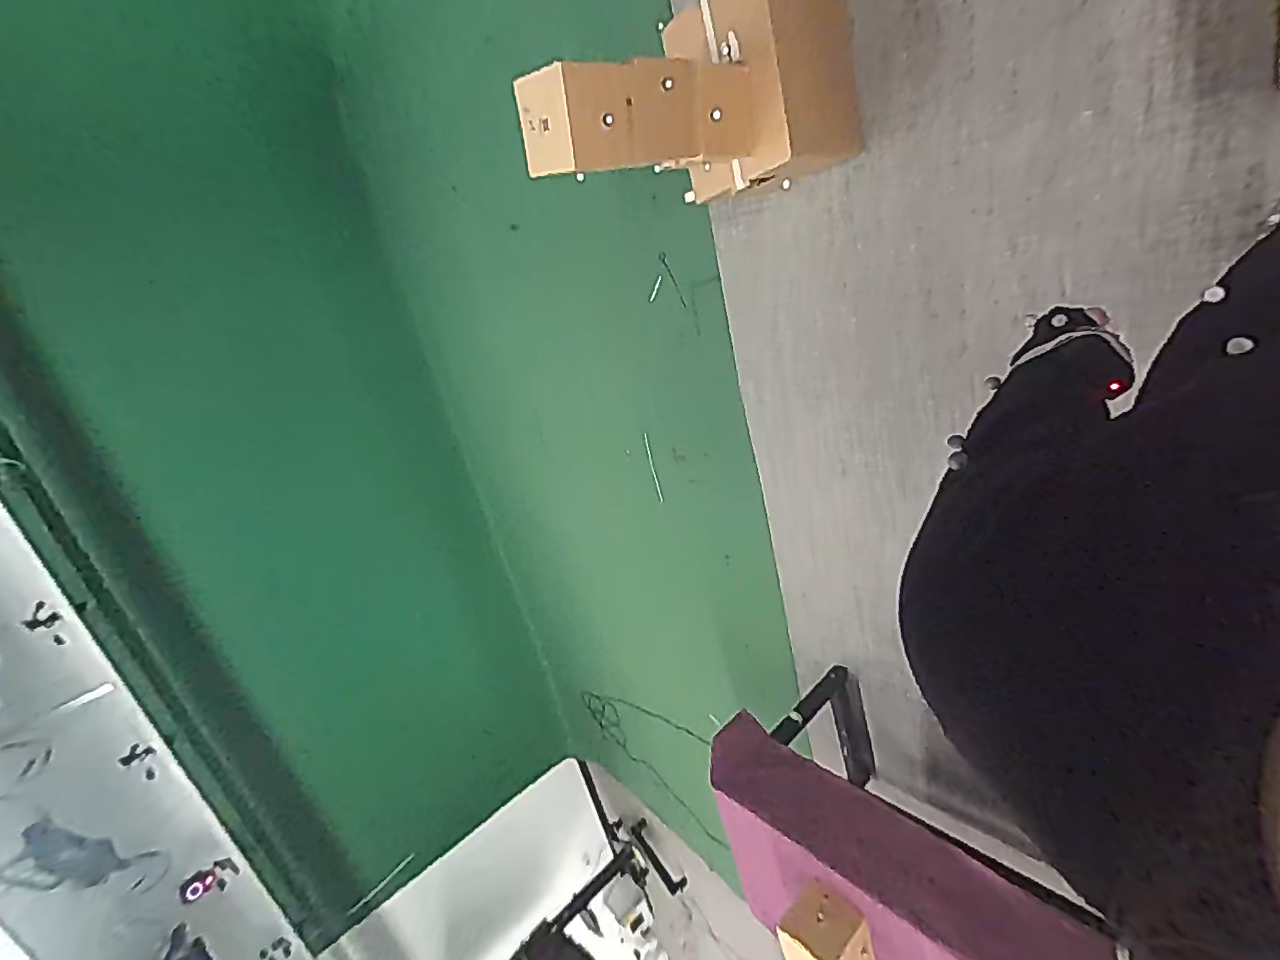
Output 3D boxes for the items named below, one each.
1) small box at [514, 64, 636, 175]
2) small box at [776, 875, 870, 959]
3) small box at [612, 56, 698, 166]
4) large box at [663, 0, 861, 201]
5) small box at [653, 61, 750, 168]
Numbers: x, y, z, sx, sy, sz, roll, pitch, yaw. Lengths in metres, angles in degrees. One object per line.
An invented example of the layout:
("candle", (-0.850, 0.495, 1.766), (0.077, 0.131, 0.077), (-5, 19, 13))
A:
("small box", (-0.119, -0.709, 1.070), (0.179, 0.176, 0.168), (27, 133, 44))
("small box", (0.492, 1.224, 1.449), (0.168, 0.176, 0.179), (7, 118, 52))
("small box", (0.009, -0.775, 1.150), (0.168, 0.176, 0.179), (26, 134, 44))
("large box", (0.309, -0.967, 1.348), (0.320, 0.320, 0.408), (8, 118, 52))
("small box", (0.136, -0.828, 1.237), (0.168, 0.176, 0.179), (22, 130, 46))
